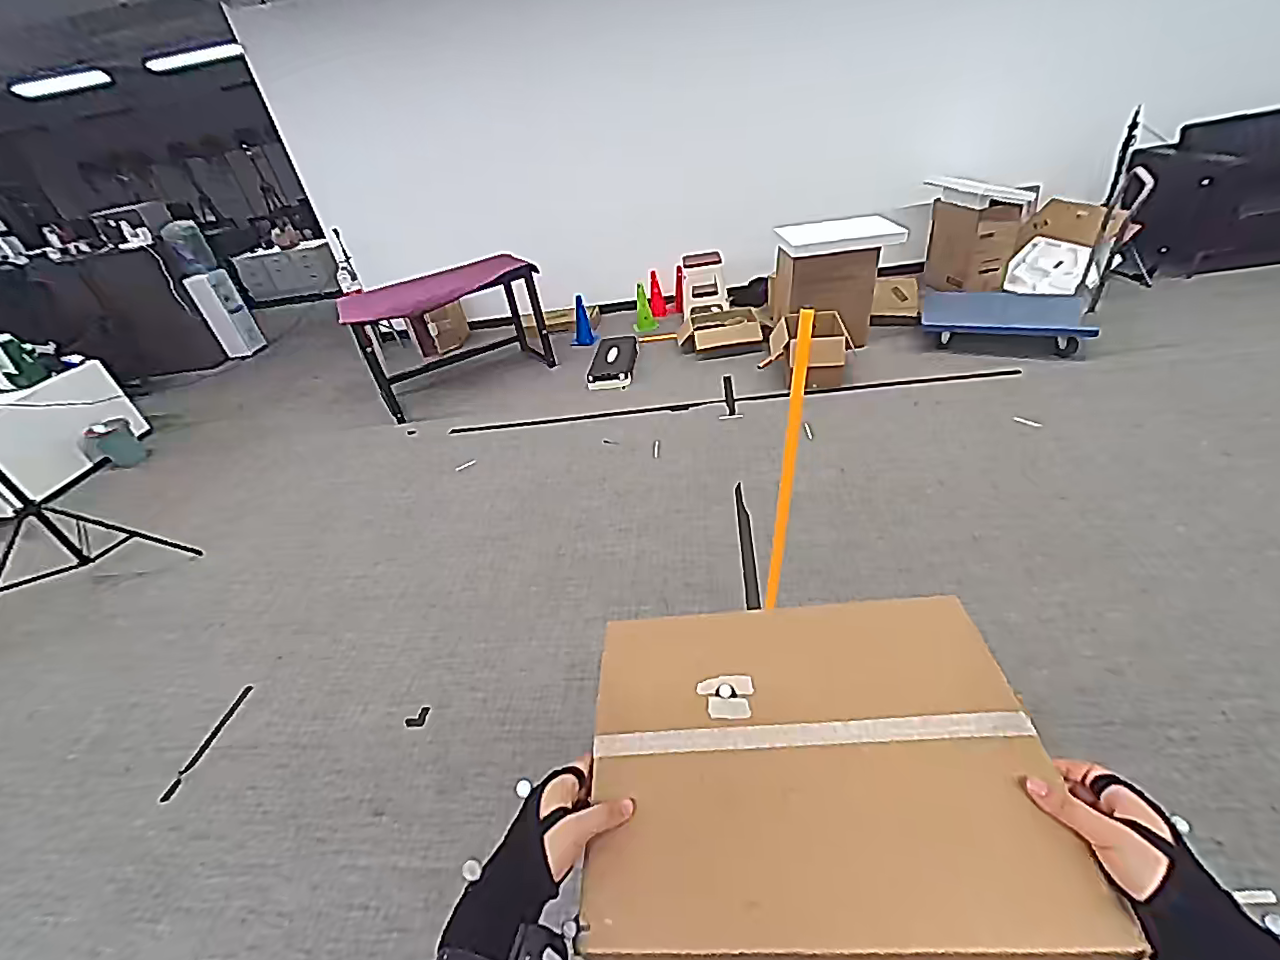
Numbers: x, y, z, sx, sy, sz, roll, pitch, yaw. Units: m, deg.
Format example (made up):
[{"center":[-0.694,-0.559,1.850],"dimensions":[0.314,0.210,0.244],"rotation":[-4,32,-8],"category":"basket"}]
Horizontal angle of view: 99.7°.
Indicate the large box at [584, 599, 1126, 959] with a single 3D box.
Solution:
[{"center":[0.181,0.371,0.608],"dimensions":[0.408,0.320,0.320],"rotation":[-7,36,8],"category":"large box"}]
